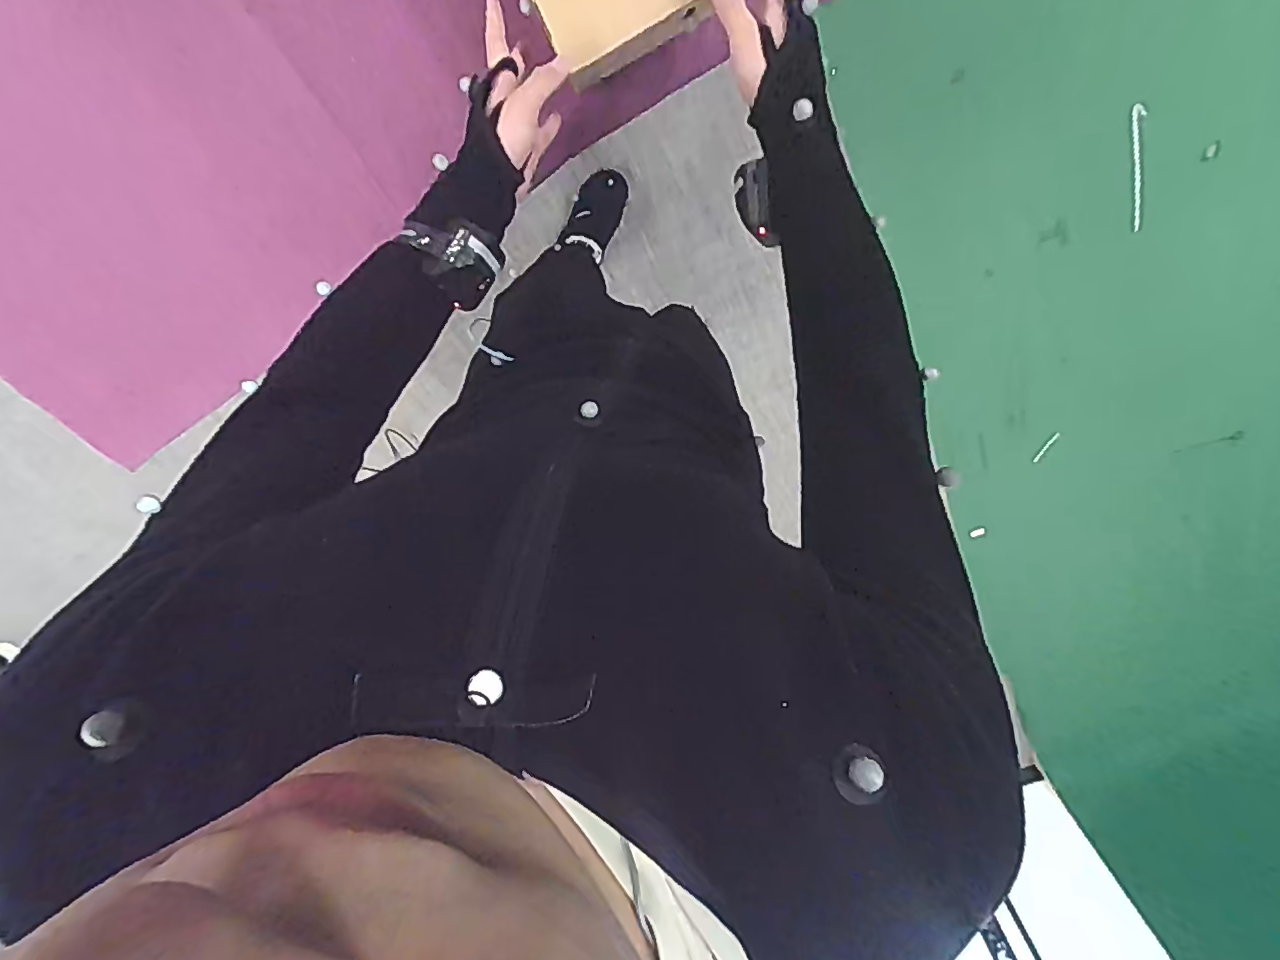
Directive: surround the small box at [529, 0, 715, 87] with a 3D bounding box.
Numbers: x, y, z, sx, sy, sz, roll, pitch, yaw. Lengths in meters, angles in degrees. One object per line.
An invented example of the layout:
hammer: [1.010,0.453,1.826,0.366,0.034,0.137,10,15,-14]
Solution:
small box: [-0.030,-0.507,0.510,0.179,0.176,0.168,-23,120,12]
